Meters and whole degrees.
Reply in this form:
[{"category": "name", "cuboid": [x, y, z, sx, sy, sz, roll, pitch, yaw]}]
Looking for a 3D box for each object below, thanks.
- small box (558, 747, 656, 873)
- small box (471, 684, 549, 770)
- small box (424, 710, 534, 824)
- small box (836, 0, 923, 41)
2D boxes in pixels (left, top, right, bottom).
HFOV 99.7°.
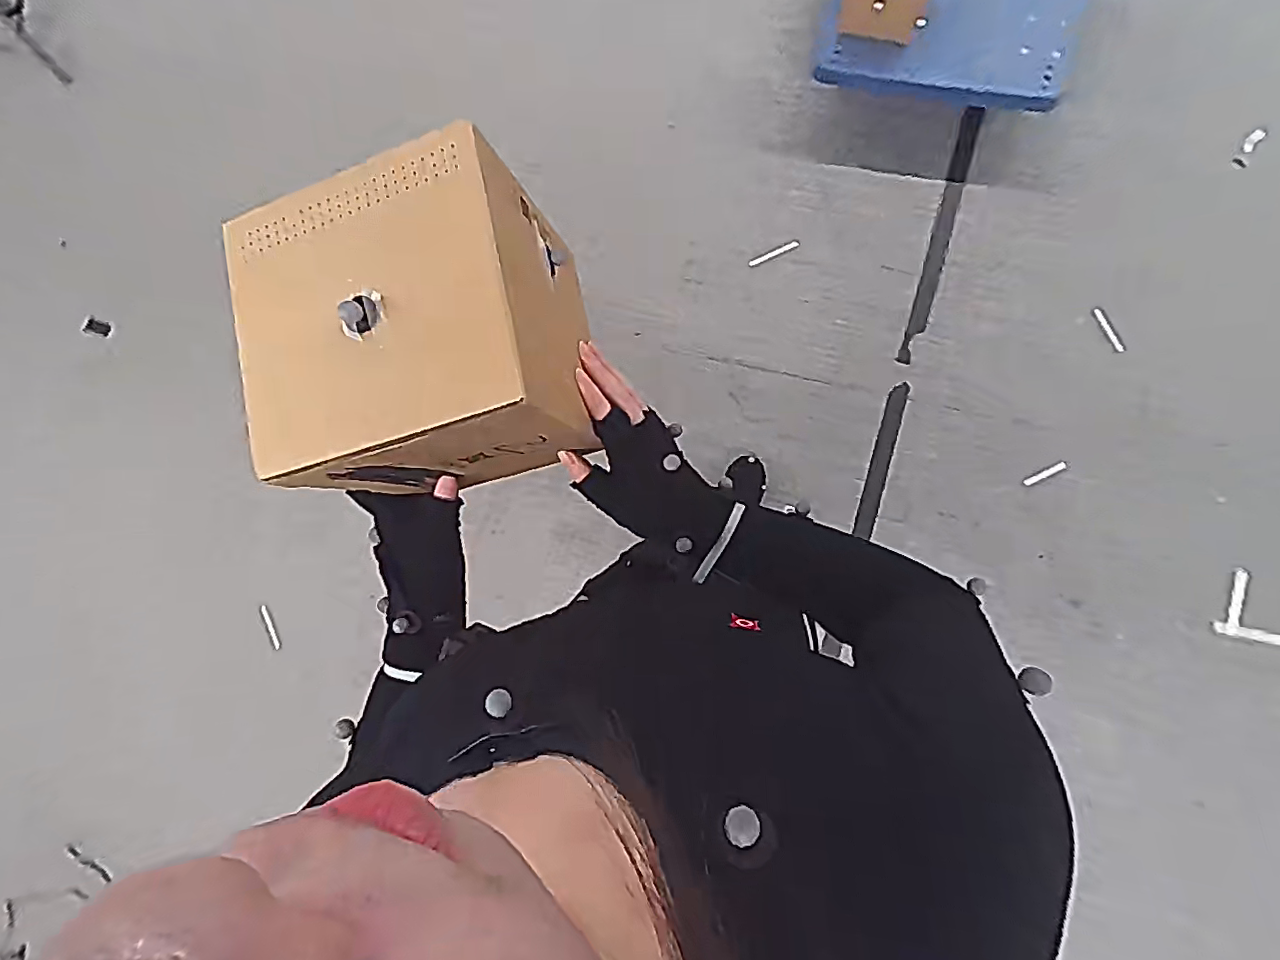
[{"category": "small box", "cuboid": [-0.068, 0.748, 1.247, 0.179, 0.176, 0.168, 12, 89, 9]}, {"category": "small box", "cuboid": [-0.359, 0.679, 1.459, 0.168, 0.176, 0.179, 12, 89, 9]}, {"category": "small box", "cuboid": [-0.379, 0.674, 1.295, 0.179, 0.176, 0.168, 12, 89, 10]}, {"category": "small box", "cuboid": [0.569, -1.149, 1.224, 0.179, 0.176, 0.168, 19, 89, 10]}]
